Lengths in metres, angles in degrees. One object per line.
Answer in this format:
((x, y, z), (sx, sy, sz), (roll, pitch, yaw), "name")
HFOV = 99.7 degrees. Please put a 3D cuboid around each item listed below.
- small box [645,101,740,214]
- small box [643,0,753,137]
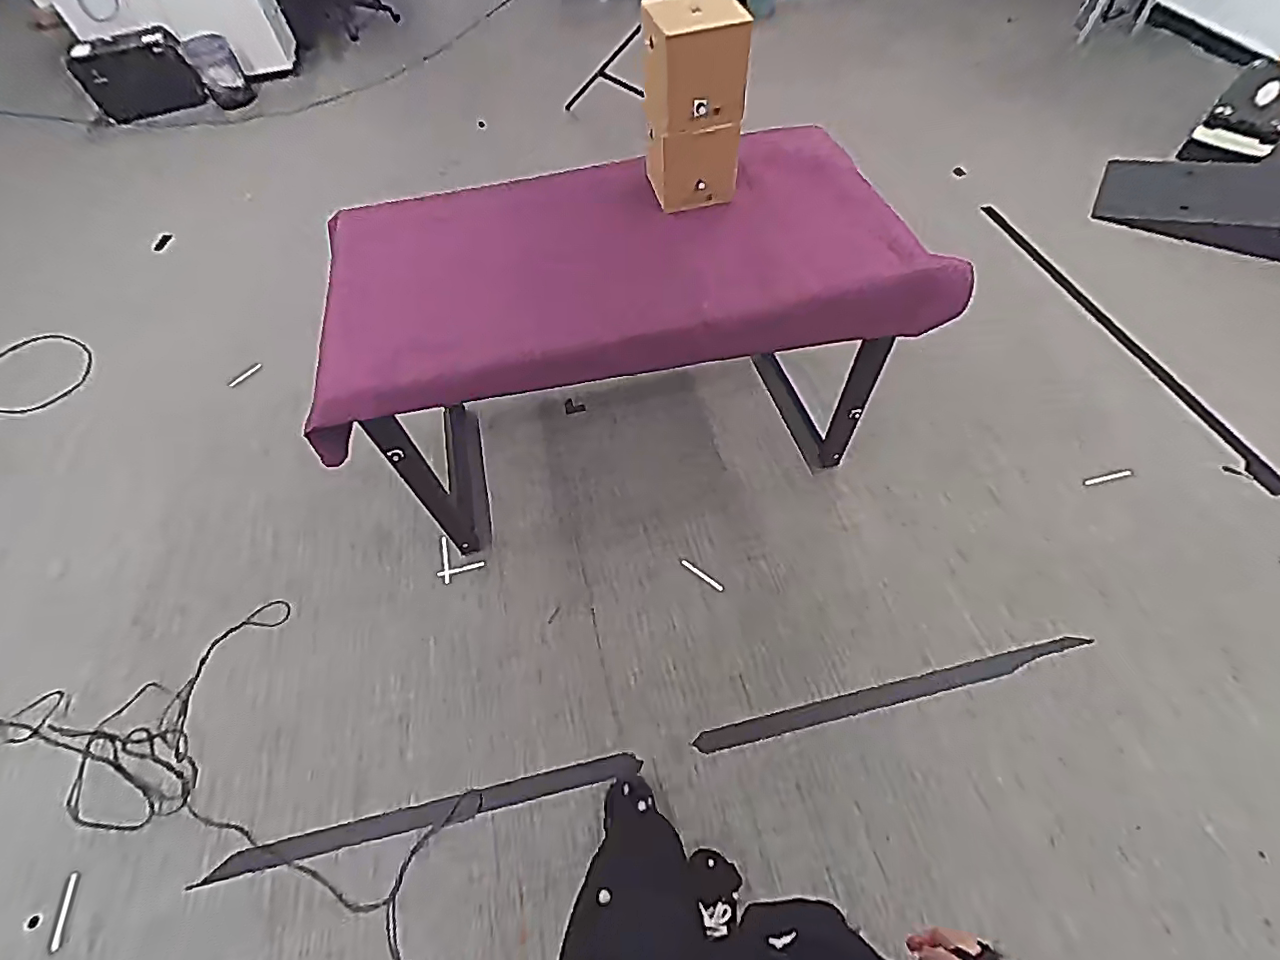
((0.110, -0.727, 1.204), (0.168, 0.176, 0.179), (-13, 59, -4), "small box")
((0.107, -0.817, 1.070), (0.168, 0.176, 0.179), (-15, 60, -5), "small box")
